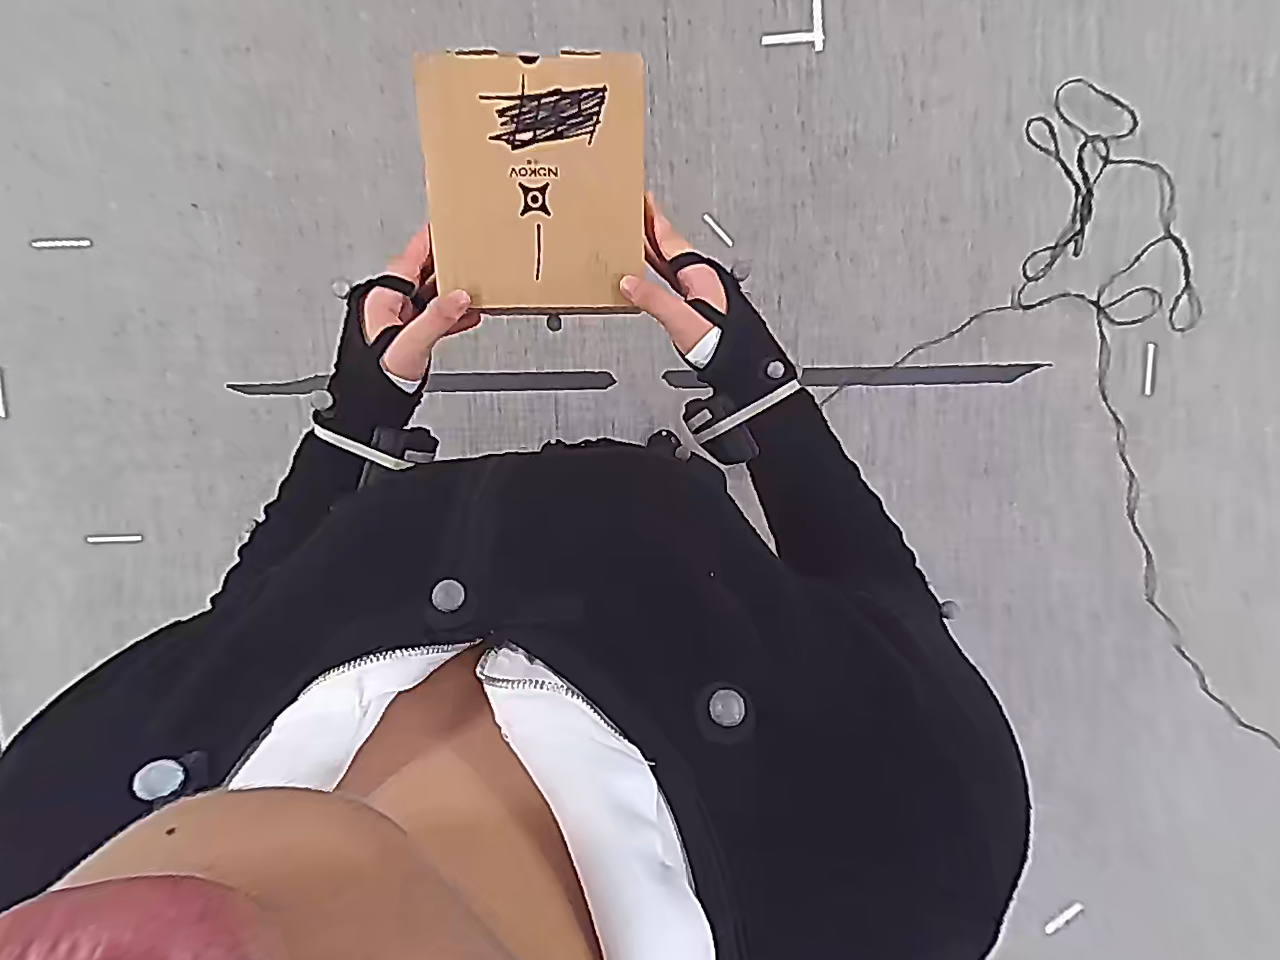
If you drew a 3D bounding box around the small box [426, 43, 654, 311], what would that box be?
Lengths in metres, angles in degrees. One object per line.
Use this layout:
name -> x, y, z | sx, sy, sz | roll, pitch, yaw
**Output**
small box -> -0.074, -0.248, 0.485 | 0.168, 0.176, 0.179 | -1, 105, -1
